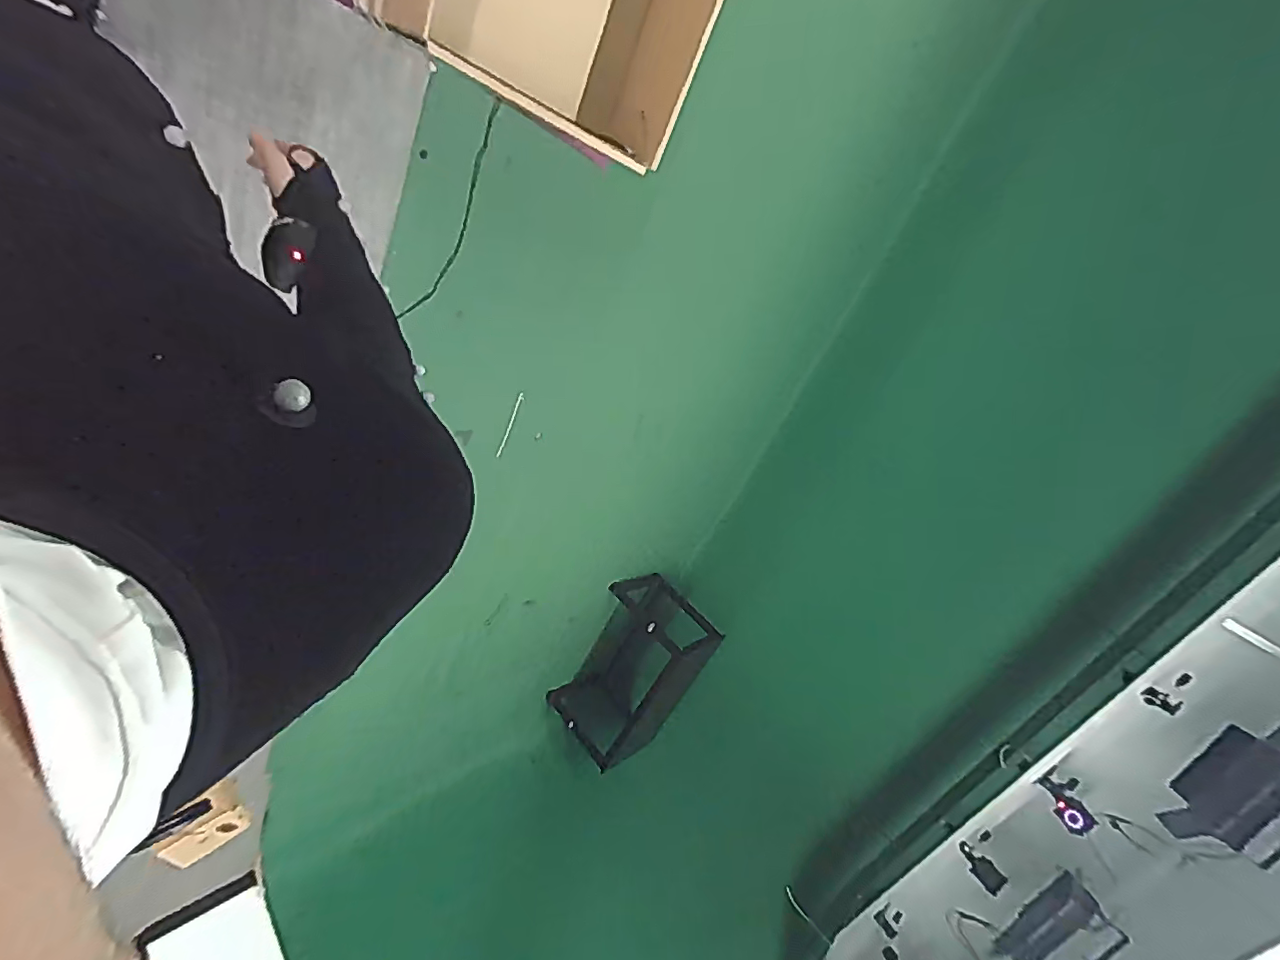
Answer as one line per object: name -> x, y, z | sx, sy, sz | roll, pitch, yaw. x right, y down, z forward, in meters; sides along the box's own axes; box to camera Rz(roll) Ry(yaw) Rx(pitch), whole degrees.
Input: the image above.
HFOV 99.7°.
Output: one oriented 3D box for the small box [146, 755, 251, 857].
small box -> -1.290, 0.946, 1.580 | 0.179, 0.176, 0.168 | -28, 145, -32
